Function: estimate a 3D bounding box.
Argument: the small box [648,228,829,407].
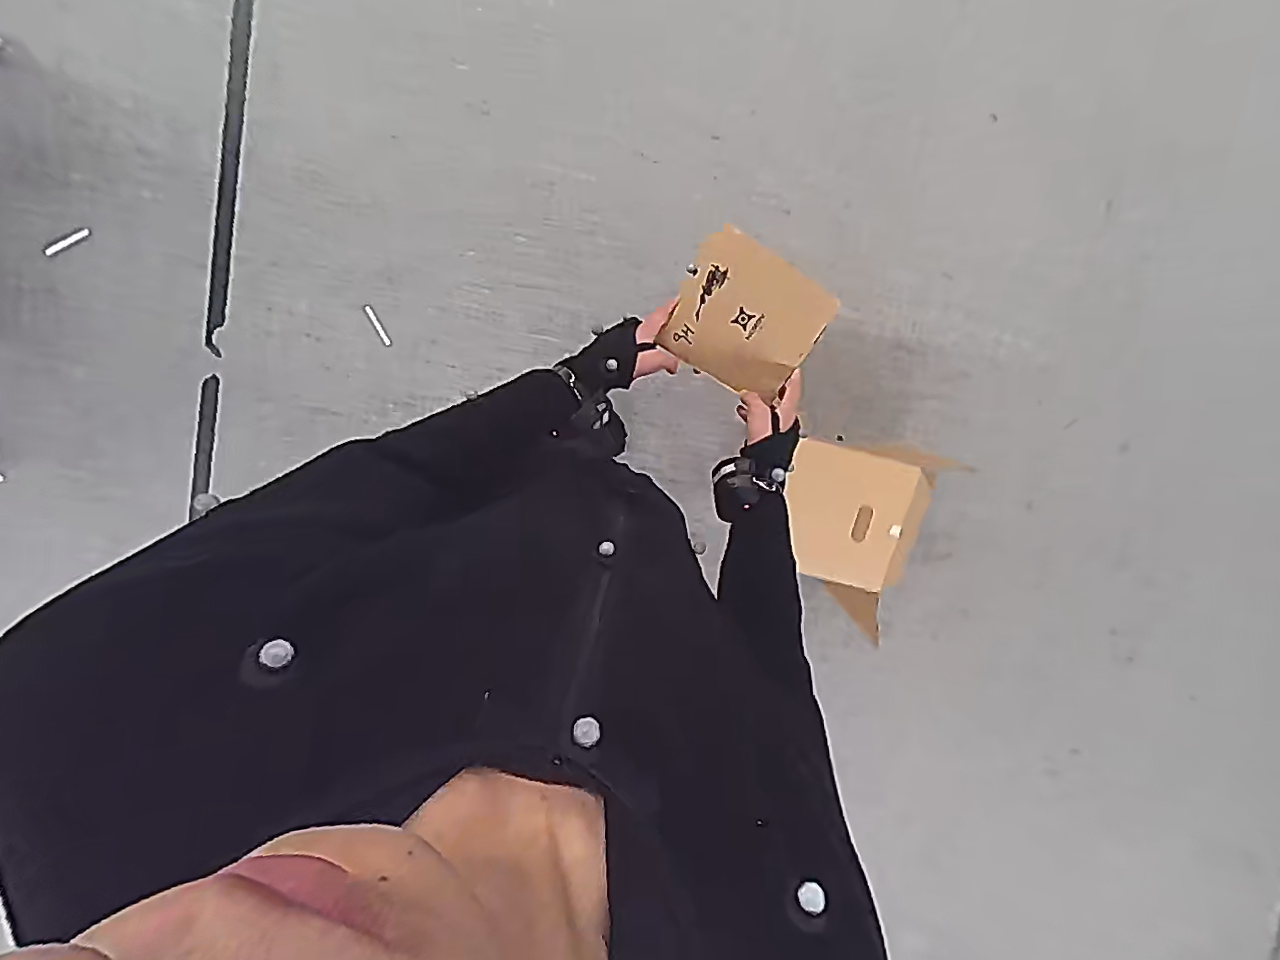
[{"bbox_3d":[0.126,-0.233,0.767,0.179,0.176,0.168,29,109,-11],"label":"small box"}]
